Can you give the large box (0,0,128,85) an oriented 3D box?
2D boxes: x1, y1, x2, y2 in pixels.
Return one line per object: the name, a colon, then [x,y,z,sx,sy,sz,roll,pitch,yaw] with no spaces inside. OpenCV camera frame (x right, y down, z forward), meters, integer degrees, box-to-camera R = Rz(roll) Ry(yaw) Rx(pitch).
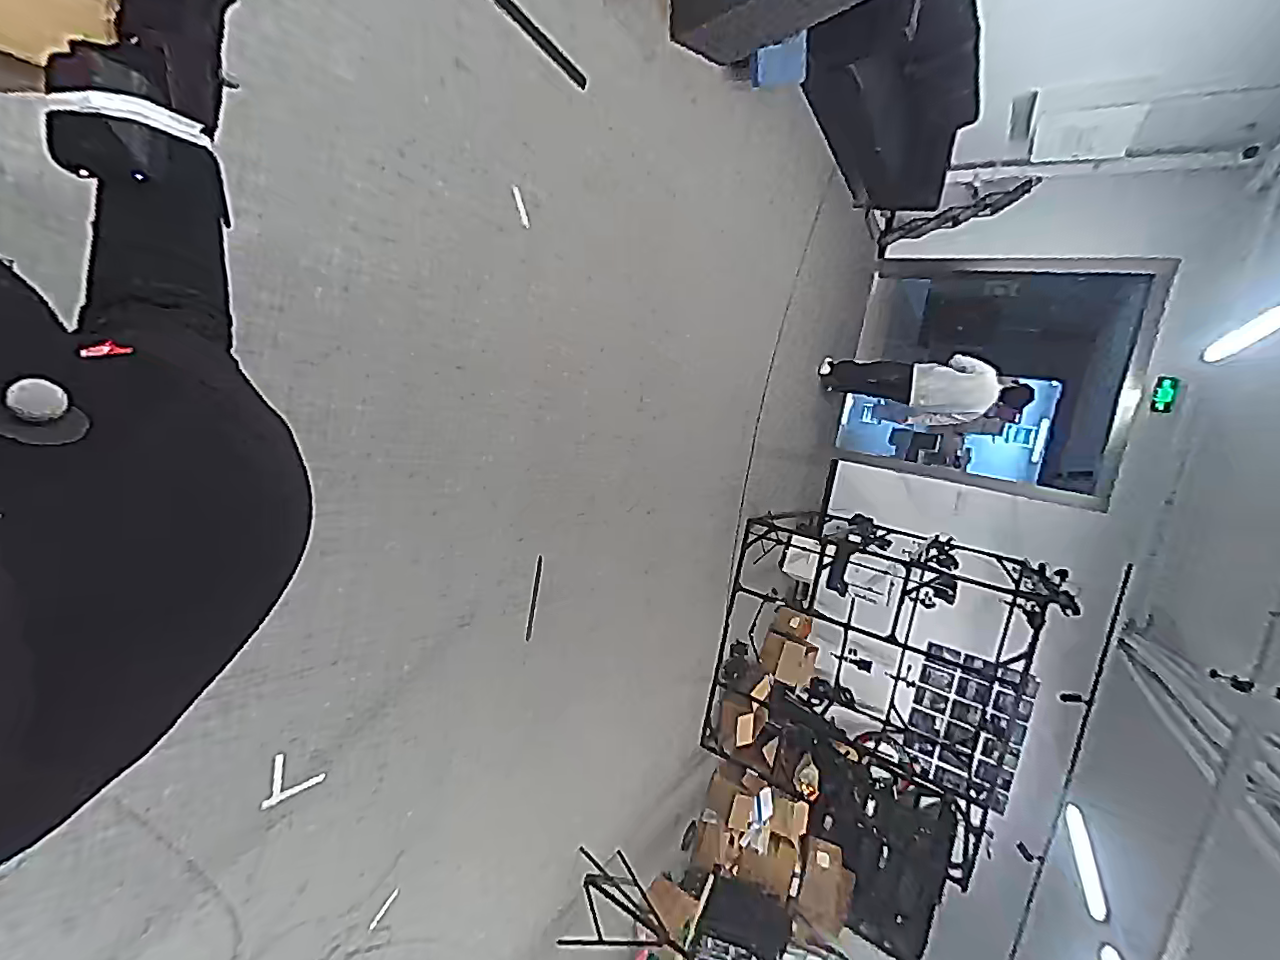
large box: [-0.549,-0.440,0.236,0.408,0.320,0.320,-12,121,-58]
